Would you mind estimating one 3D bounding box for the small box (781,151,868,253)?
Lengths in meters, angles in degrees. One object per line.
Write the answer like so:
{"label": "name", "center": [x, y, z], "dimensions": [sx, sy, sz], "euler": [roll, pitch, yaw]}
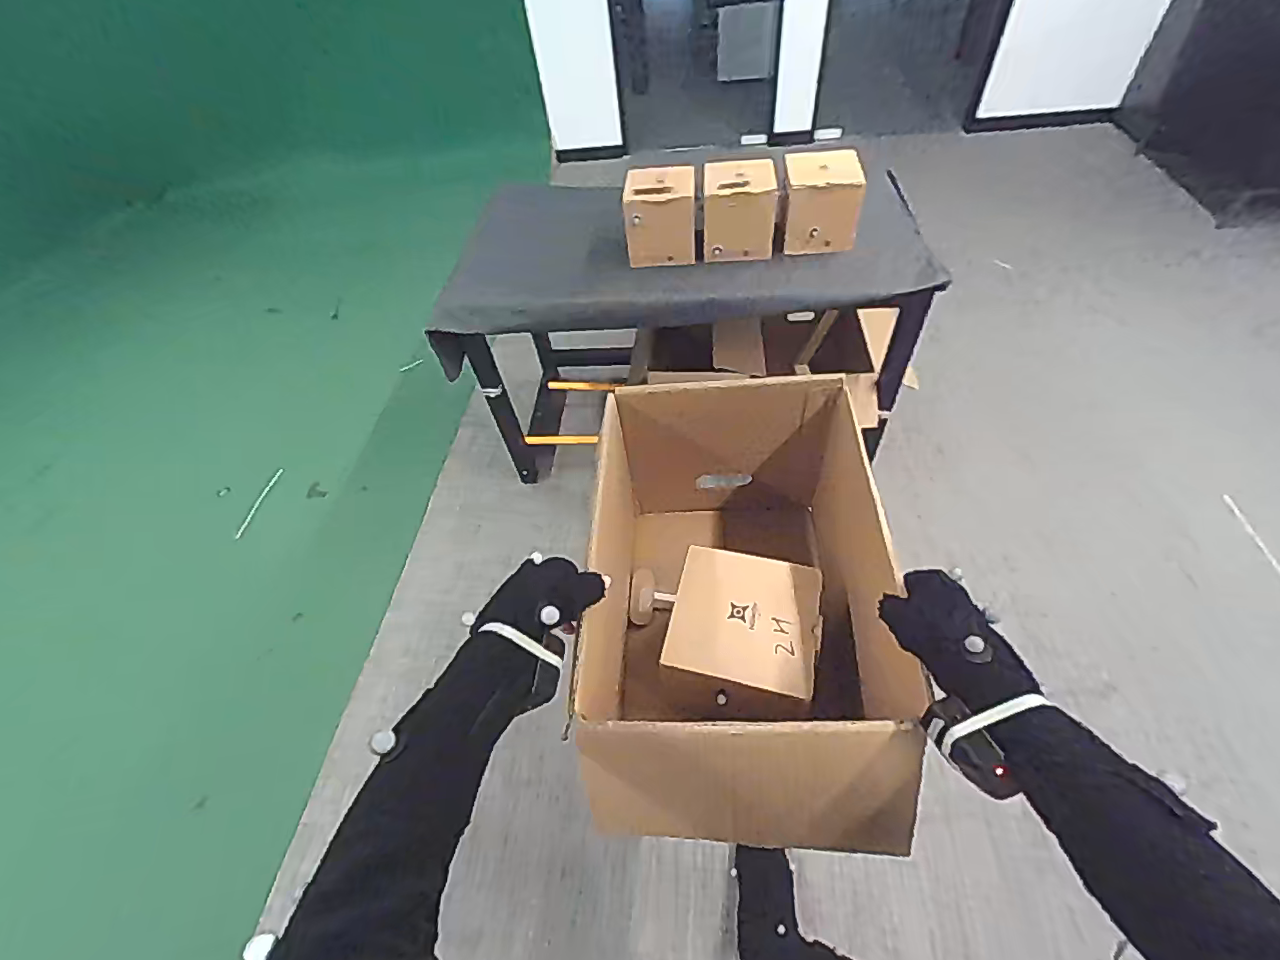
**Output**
{"label": "small box", "center": [0.441, -0.677, 1.324], "dimensions": [0.168, 0.176, 0.179], "euler": [1, 52, 7]}
